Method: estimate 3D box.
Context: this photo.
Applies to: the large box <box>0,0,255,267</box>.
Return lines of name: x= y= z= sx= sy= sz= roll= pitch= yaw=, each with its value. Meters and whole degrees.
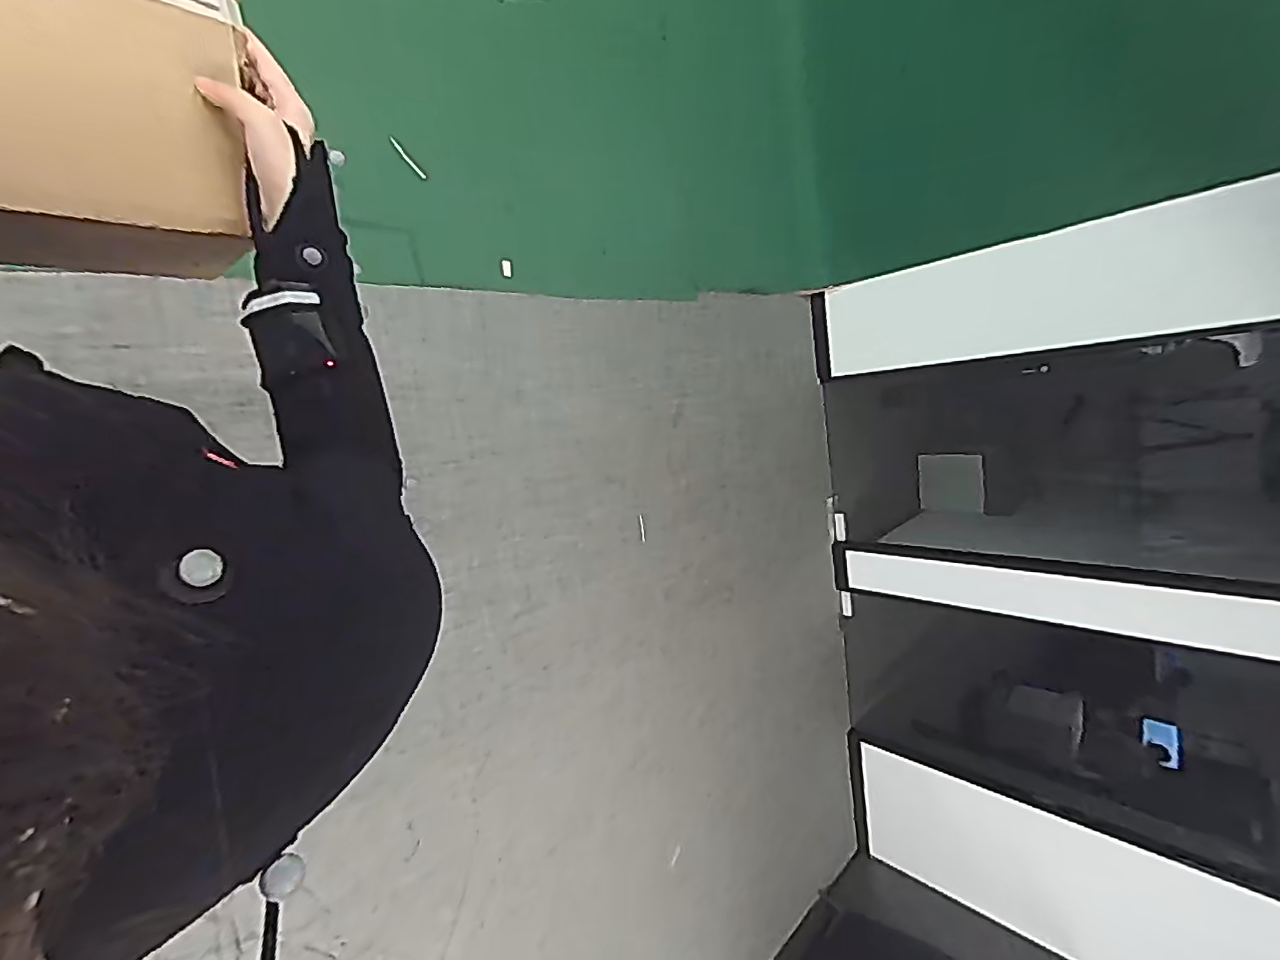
large box: x=-0.561 y=-0.341 z=0.385 sx=0.408 sy=0.320 sz=0.320 roll=-12 pitch=107 yaw=-41
